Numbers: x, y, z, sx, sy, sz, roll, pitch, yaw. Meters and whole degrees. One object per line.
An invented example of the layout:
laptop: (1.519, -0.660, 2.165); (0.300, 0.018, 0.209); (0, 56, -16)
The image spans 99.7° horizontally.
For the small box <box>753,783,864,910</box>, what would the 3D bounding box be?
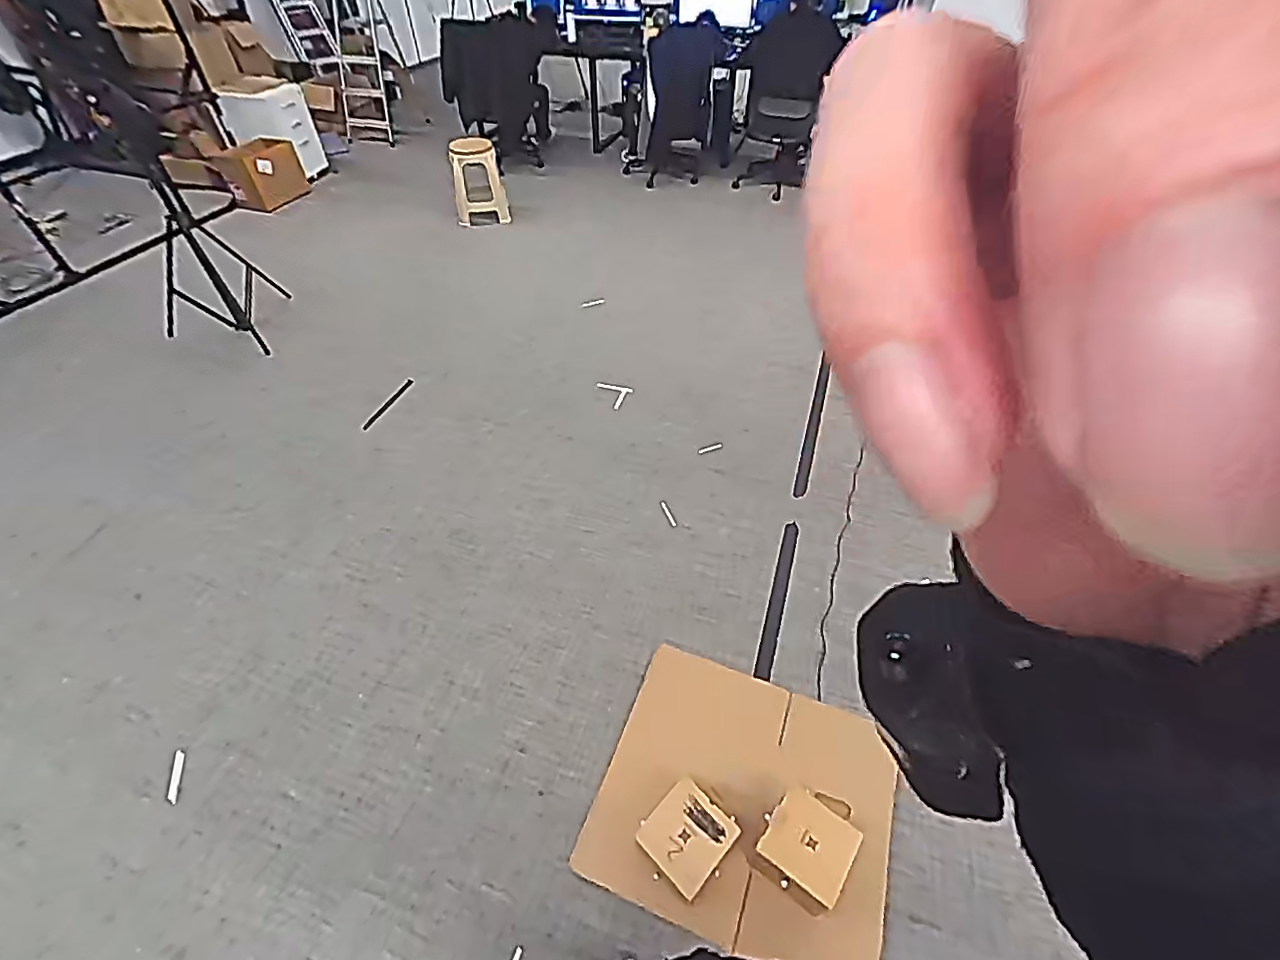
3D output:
small box: (0.377, 0.837, 1.231); (0.179, 0.176, 0.168); (27, 55, 27)
